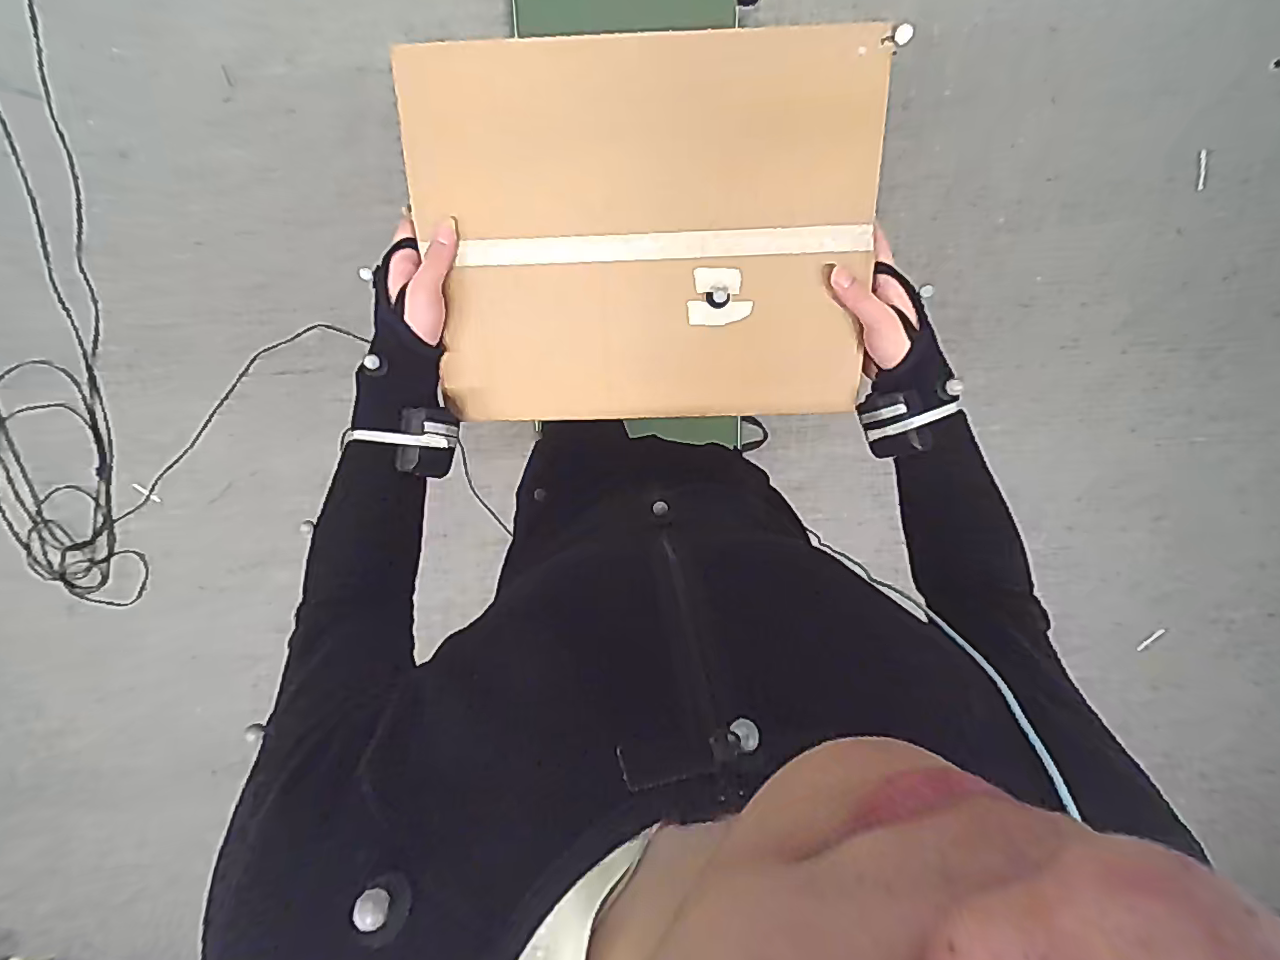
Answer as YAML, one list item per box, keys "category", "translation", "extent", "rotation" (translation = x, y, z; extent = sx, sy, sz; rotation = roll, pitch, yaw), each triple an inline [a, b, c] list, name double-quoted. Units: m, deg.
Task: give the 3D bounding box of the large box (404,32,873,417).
- category: "large box"
  translation: [0.003, -0.264, 0.639]
  extent: [0.408, 0.320, 0.320]
  rotation: [-1, 109, 1]
